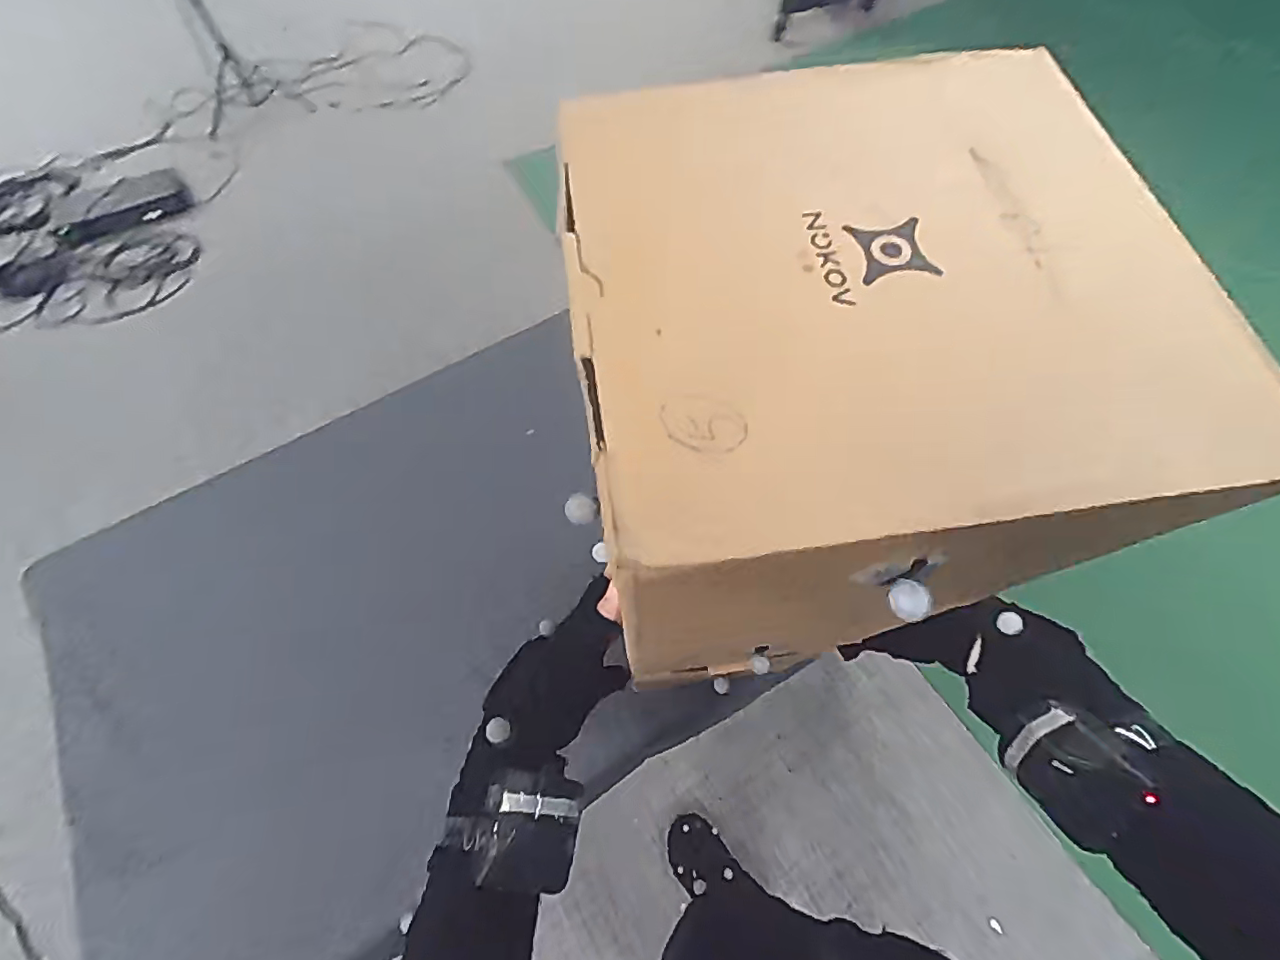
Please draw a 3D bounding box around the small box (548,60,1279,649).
[{"bbox_3d":[0.067,-0.030,0.230,0.179,0.176,0.168,-8,68,-3],"label":"small box"}]

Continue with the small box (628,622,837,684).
[{"bbox_3d":[0.068,0.098,0.530,0.168,0.176,0.179,-8,67,-2],"label":"small box"}]
